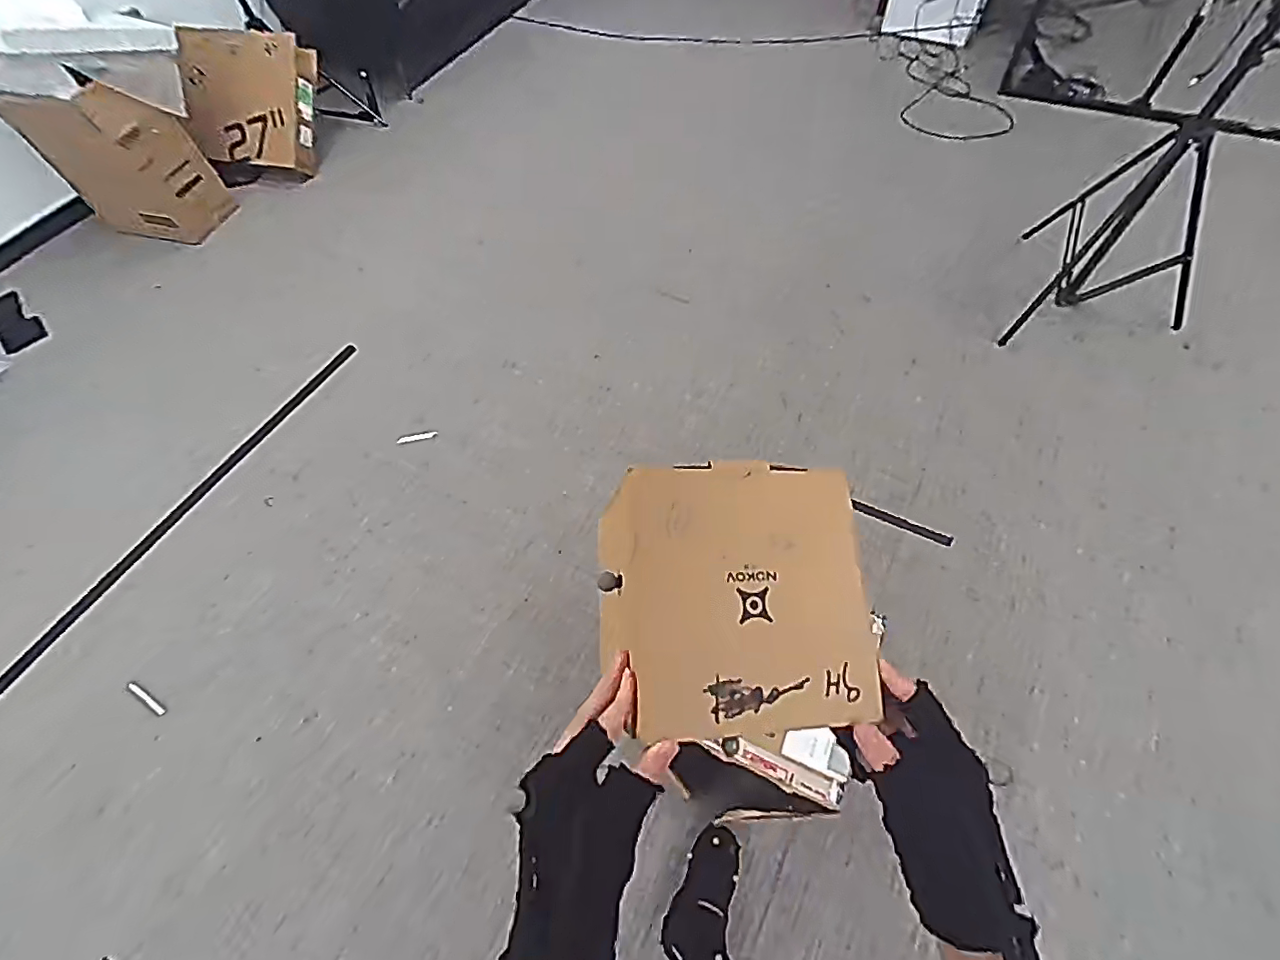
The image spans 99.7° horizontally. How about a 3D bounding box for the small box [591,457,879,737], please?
[{"bbox_3d":[0.054,0.092,0.430,0.168,0.176,0.179,0,74,-13],"label":"small box"}]
